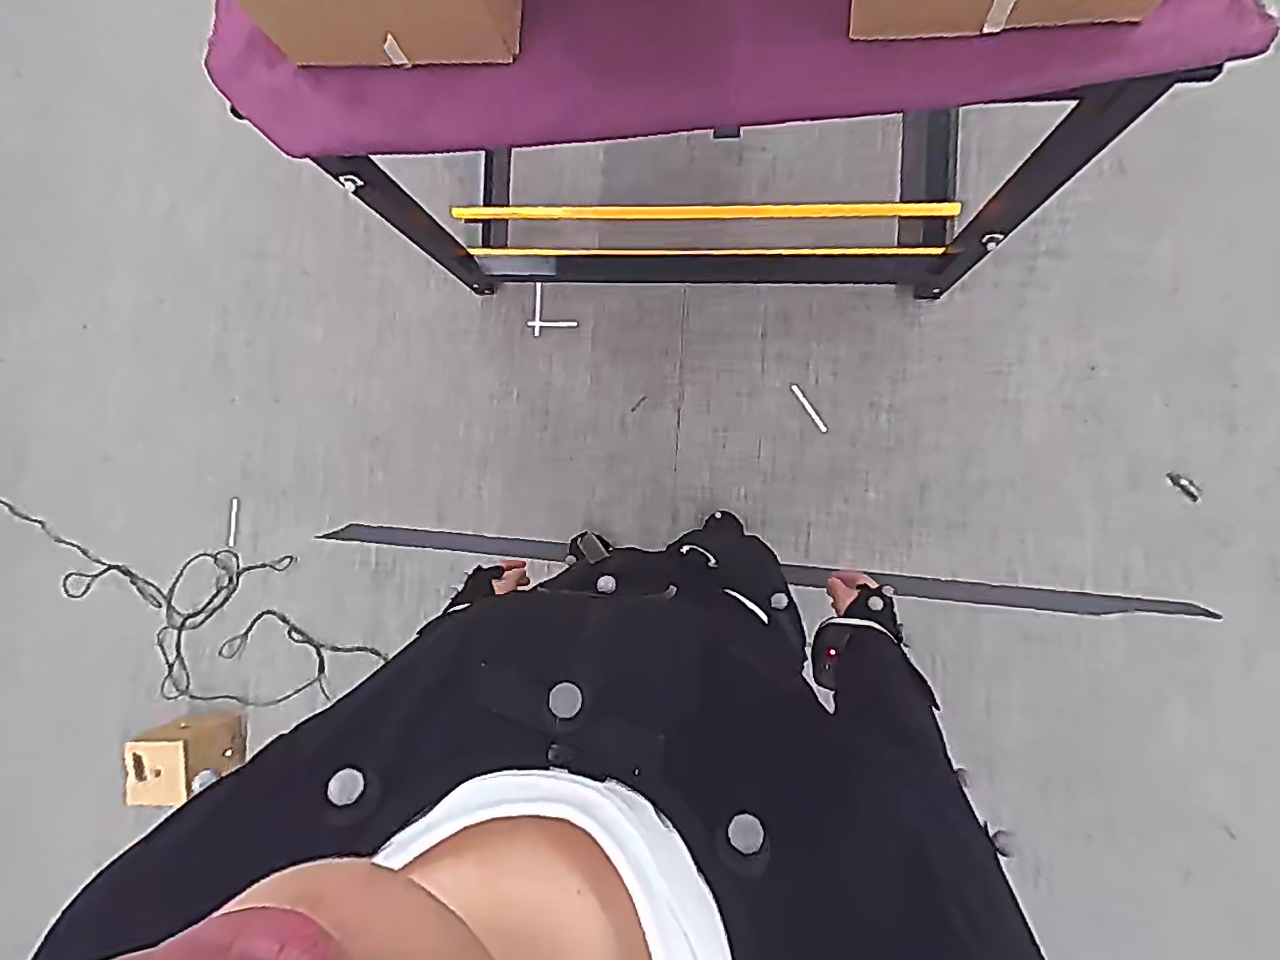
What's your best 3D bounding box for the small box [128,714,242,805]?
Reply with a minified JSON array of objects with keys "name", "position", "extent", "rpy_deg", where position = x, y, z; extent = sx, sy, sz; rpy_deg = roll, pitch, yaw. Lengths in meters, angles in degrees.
[{"name":"small box","position":[-1.230,0.753,1.471],"extent":[0.179,0.176,0.168],"rpy_deg":[-3,89,8]}]
